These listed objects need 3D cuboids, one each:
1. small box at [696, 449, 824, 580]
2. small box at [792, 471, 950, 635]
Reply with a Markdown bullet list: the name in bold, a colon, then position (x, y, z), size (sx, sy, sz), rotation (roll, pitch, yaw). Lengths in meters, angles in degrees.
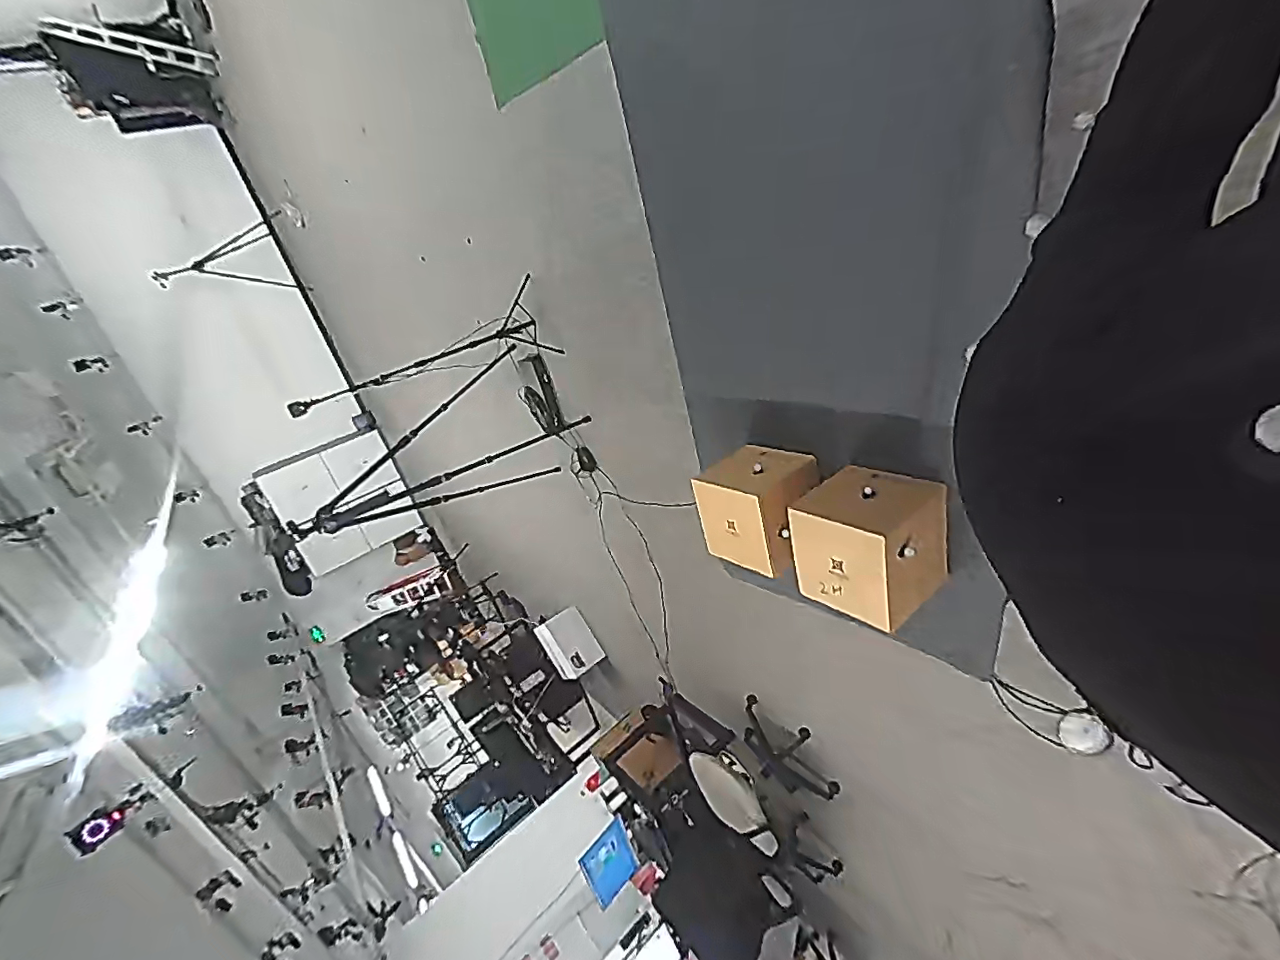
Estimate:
- **small box**: position (0.238, 0.056, 1.035), size (0.168, 0.176, 0.179), rotation (16, 130, 51)
- **small box**: position (0.370, 0.104, 0.861), size (0.168, 0.176, 0.179), rotation (19, 131, 52)
